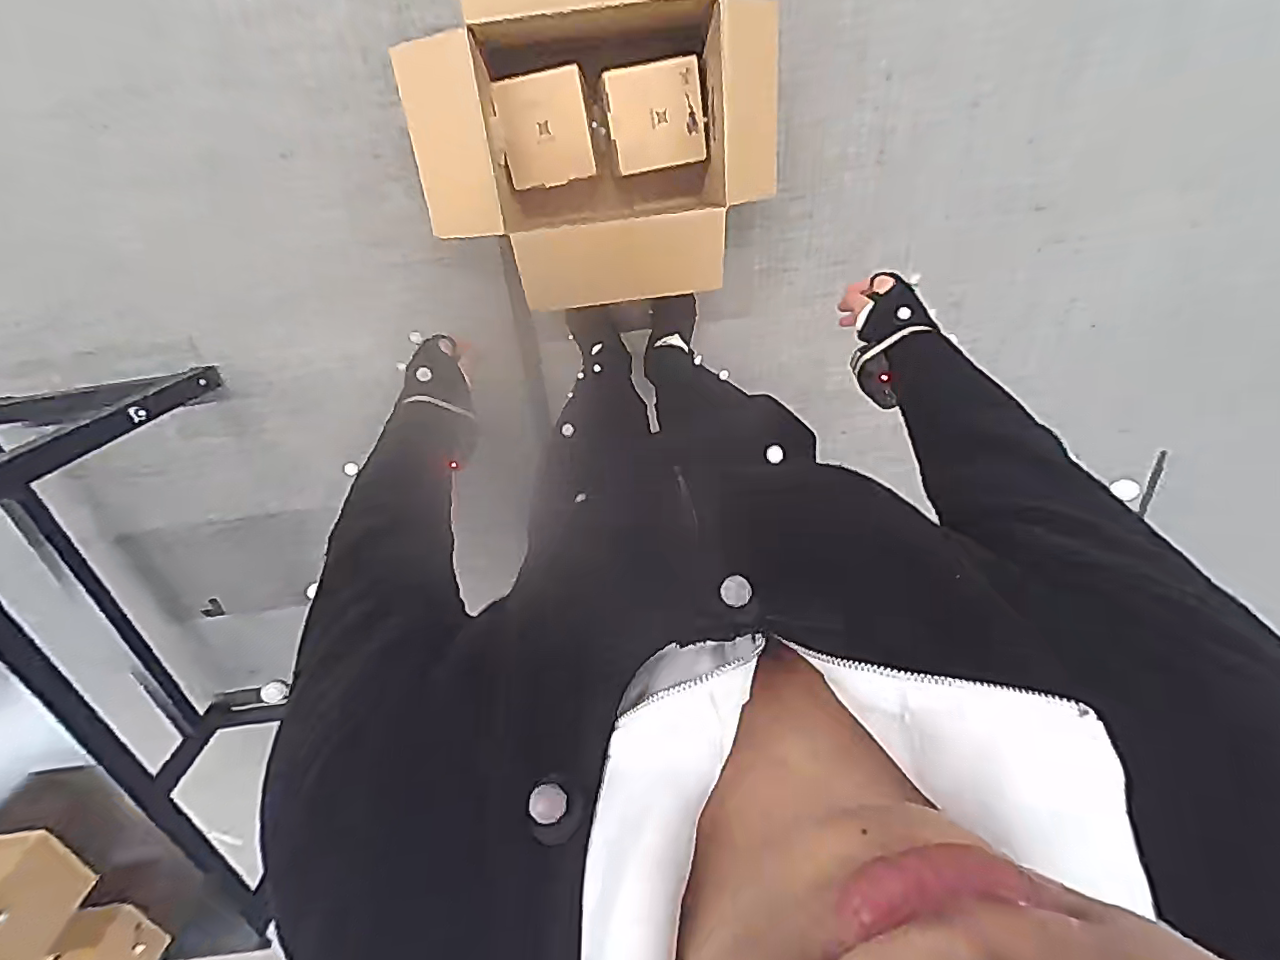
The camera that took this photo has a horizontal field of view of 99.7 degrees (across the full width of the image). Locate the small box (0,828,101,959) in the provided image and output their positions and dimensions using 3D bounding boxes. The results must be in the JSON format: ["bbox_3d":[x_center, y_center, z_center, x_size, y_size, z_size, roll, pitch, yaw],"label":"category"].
[{"bbox_3d":[-1.182,0.771,0.996,0.168,0.176,0.179,-7,118,1],"label":"small box"}]

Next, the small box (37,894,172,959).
[{"bbox_3d":[-1.149,1.004,1.124,0.179,0.176,0.168,-9,118,1],"label":"small box"}]
